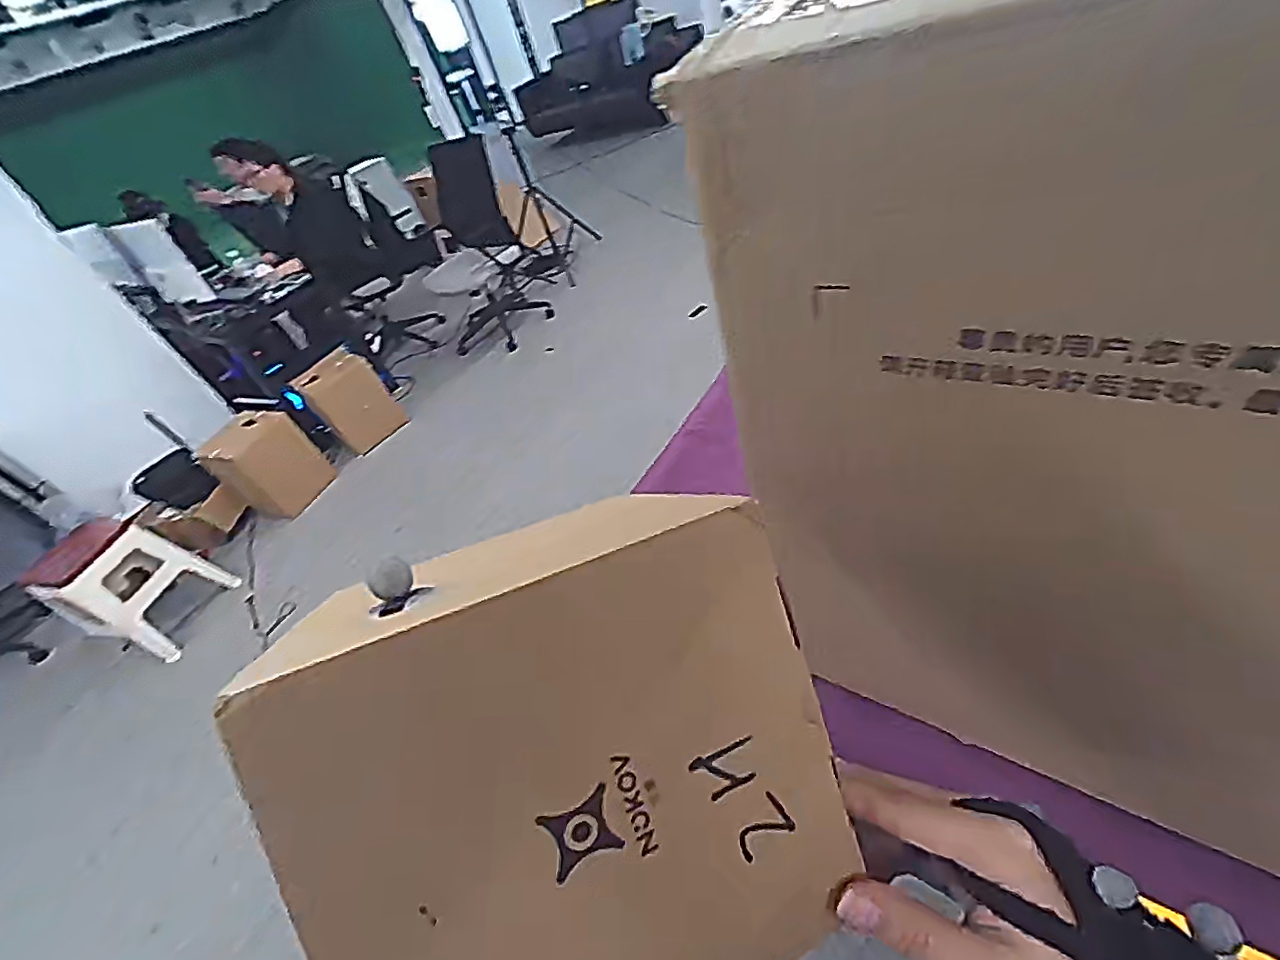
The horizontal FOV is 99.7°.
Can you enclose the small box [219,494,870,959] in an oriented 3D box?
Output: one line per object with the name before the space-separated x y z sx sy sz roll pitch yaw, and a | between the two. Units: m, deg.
small box | -0.037 0.109 0.250 0.179 0.168 0.176 -18 6 -18
